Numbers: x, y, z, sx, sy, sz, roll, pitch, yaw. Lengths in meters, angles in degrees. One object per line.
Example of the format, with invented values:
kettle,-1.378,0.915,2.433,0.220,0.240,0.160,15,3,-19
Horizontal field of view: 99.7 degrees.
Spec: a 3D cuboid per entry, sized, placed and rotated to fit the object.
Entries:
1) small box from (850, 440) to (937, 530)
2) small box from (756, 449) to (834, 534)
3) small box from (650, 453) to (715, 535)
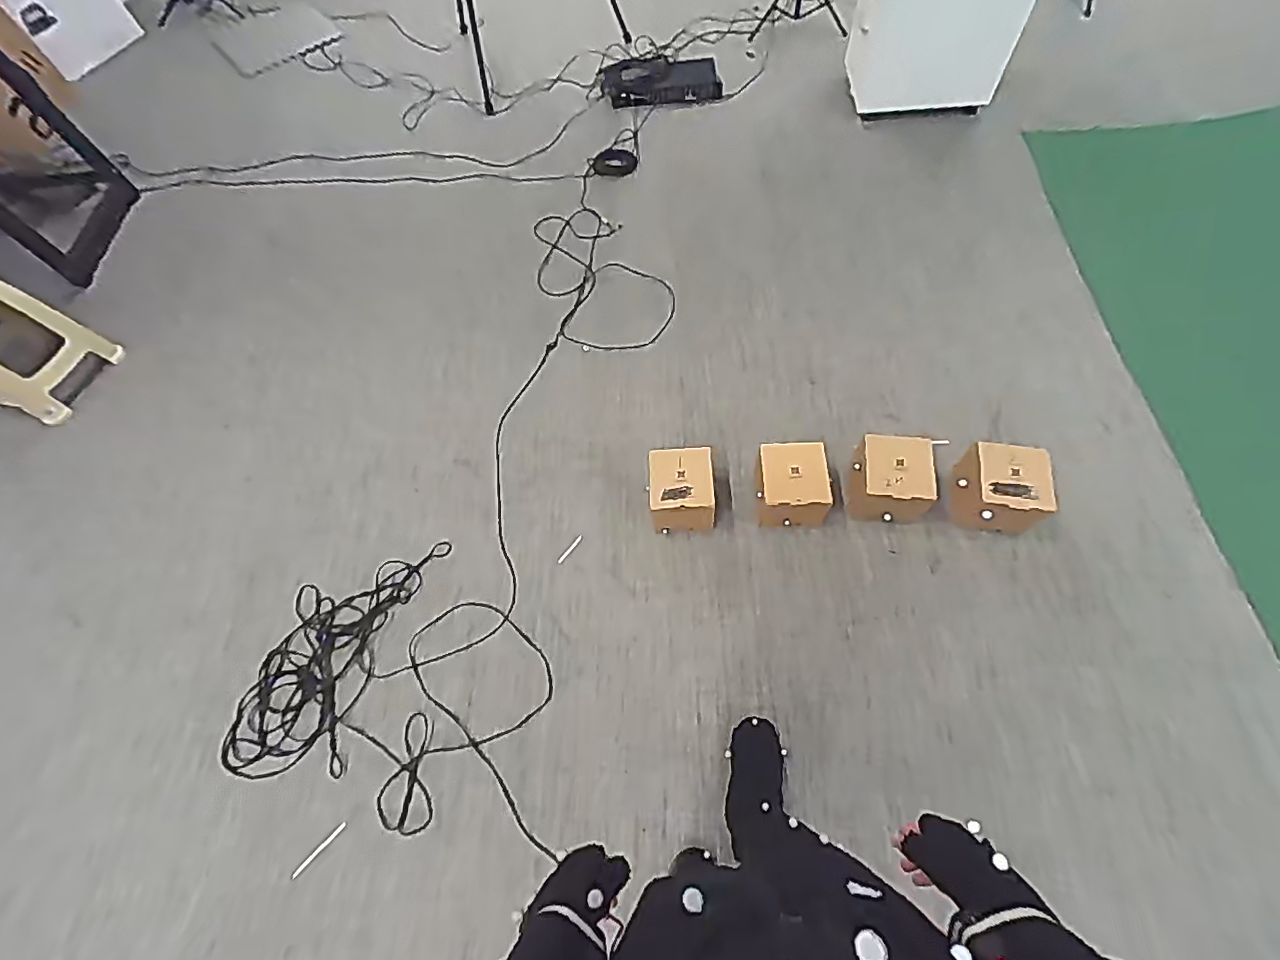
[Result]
small box,0.662,0.016,1.432,0.168,0.176,0.179,5,64,9
small box,0.407,0.032,1.451,0.168,0.176,0.179,-2,63,5
small box,0.117,0.044,1.472,0.168,0.176,0.179,-3,62,4
